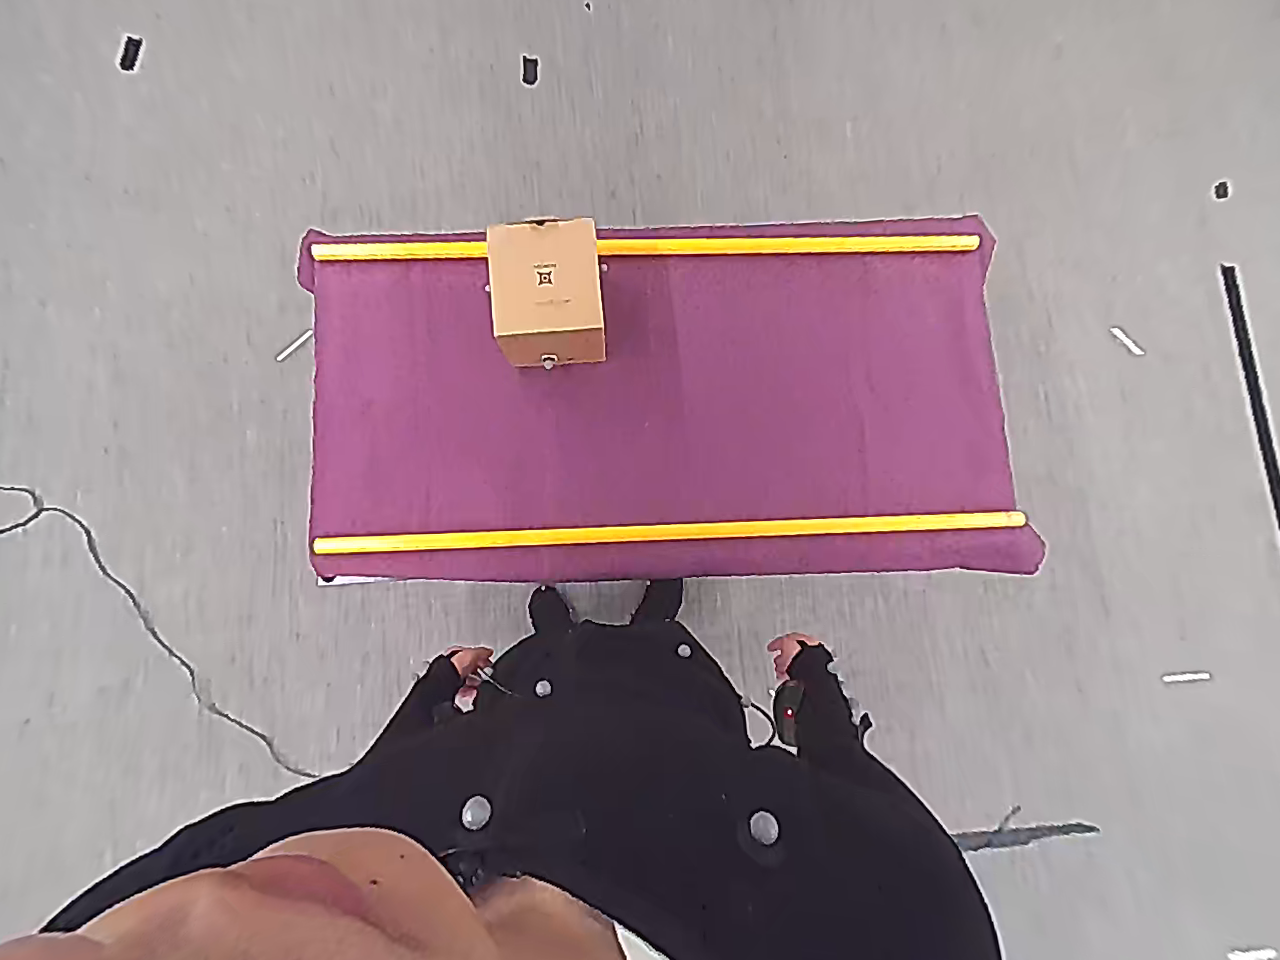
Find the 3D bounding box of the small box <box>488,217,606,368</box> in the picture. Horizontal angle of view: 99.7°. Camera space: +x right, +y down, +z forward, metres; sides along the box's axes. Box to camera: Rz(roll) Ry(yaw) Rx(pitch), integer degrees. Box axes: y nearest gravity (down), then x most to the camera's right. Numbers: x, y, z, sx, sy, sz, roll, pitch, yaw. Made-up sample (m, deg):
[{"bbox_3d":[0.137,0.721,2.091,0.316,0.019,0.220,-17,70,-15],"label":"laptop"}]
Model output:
[{"bbox_3d":[-0.144,-0.298,0.884,0.168,0.176,0.179,-5,84,-3],"label":"small box"}]
